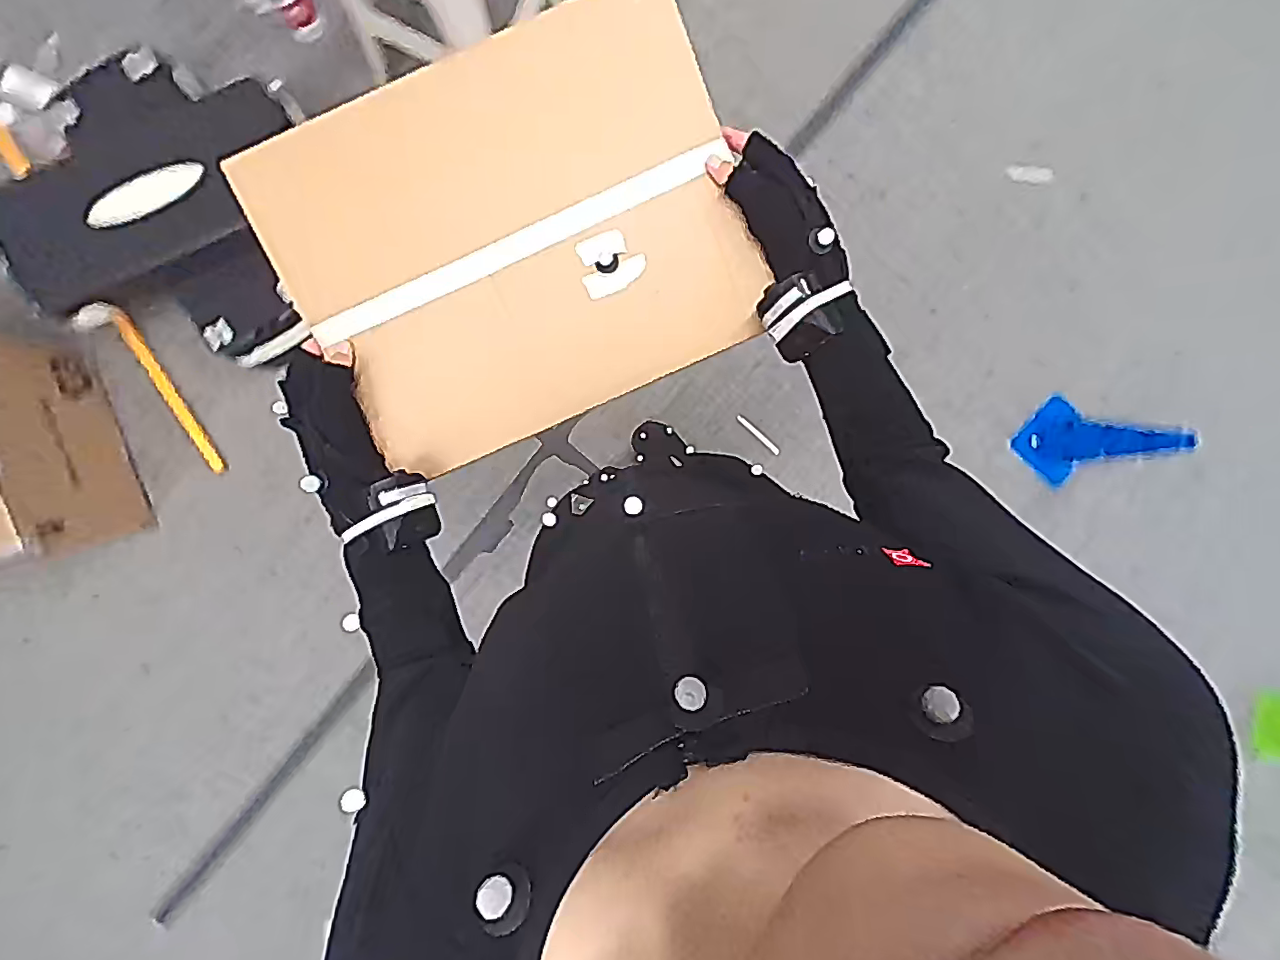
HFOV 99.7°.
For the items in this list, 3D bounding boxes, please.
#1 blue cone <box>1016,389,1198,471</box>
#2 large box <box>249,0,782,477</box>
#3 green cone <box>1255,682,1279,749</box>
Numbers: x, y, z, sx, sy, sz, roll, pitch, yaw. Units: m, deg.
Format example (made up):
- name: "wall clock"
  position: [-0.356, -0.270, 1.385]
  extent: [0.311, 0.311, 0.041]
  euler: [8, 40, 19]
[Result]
- name: "blue cone"
  position: [1.176, -0.128, 1.356]
  extent: [0.193, 0.380, 0.192]
  euler: [43, 91, -5]
- name: "large box"
  position: [-0.111, -0.241, 0.635]
  extent: [0.408, 0.320, 0.320]
  euler: [-23, 102, 1]
- name: "green cone"
  position: [1.934, 0.709, 1.431]
  extent: [0.200, 0.368, 0.202]
  euler: [2, 93, -3]
